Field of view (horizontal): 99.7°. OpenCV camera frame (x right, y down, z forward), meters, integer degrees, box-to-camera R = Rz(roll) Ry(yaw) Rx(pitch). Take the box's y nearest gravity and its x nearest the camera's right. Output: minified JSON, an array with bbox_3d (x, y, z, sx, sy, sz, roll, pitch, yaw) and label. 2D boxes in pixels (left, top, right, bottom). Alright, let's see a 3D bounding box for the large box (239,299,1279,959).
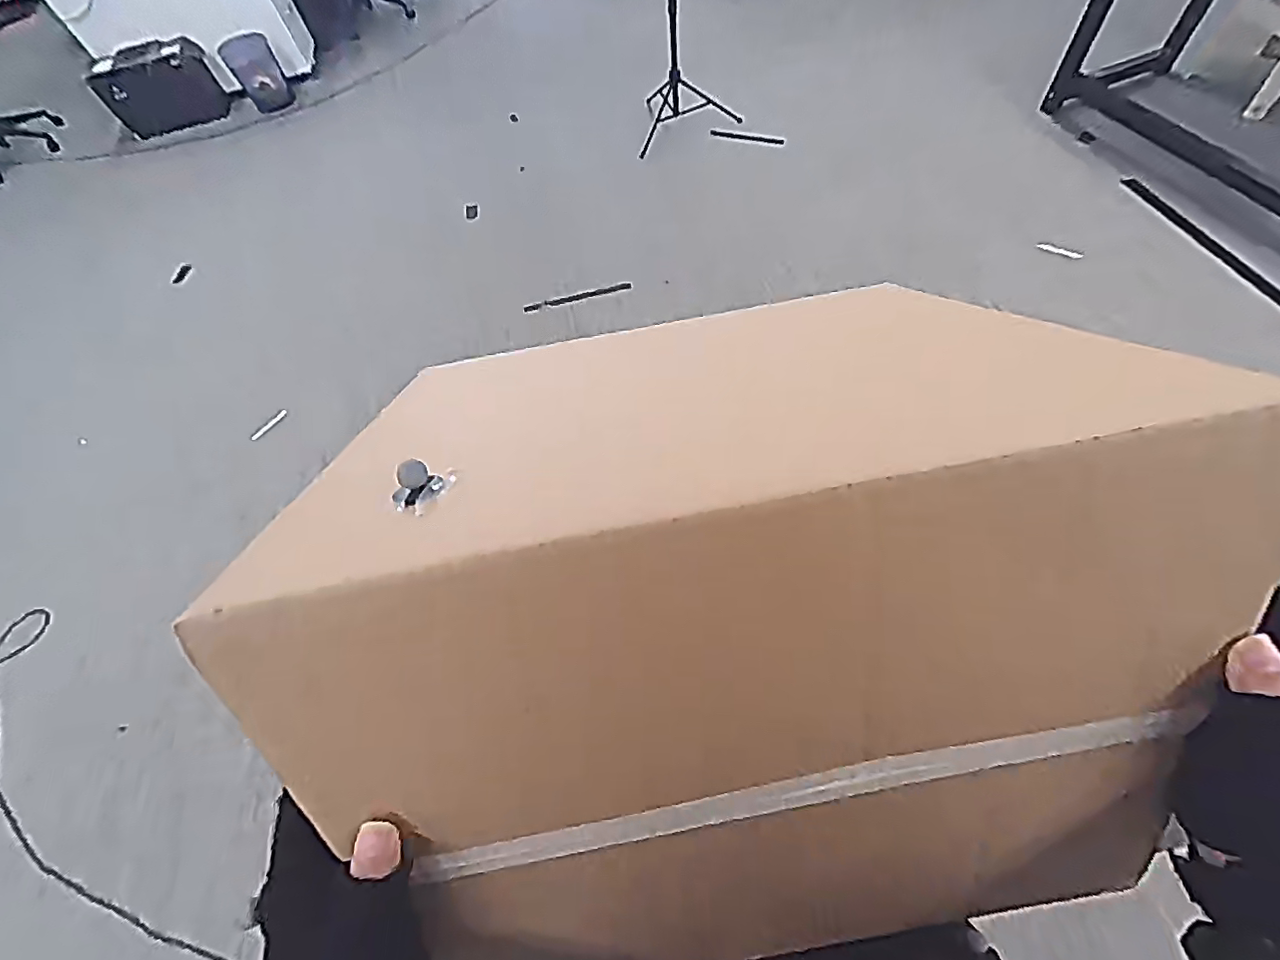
[{"bbox_3d":[0.055,0.079,0.396,0.408,0.320,0.320,-11,28,0],"label":"large box"}]
